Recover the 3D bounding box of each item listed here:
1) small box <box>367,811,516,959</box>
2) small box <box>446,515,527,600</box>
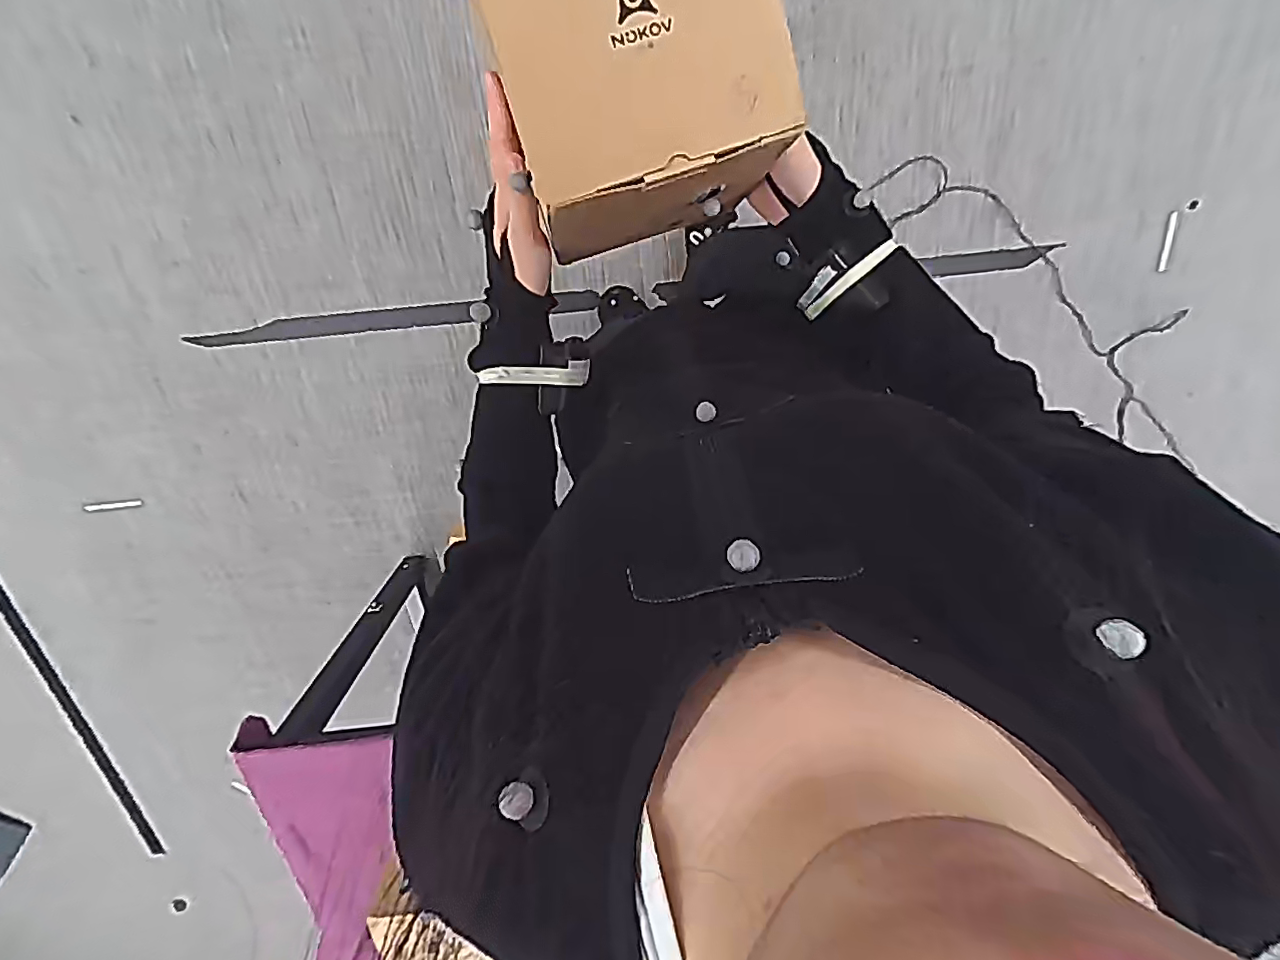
[{"bbox_3d":[-0.319,0.691,0.905,0.179,0.176,0.168,-5,111,-1],"label":"small box"},{"bbox_3d":[-0.423,0.208,1.502,0.179,0.176,0.168,9,109,-7],"label":"small box"}]
